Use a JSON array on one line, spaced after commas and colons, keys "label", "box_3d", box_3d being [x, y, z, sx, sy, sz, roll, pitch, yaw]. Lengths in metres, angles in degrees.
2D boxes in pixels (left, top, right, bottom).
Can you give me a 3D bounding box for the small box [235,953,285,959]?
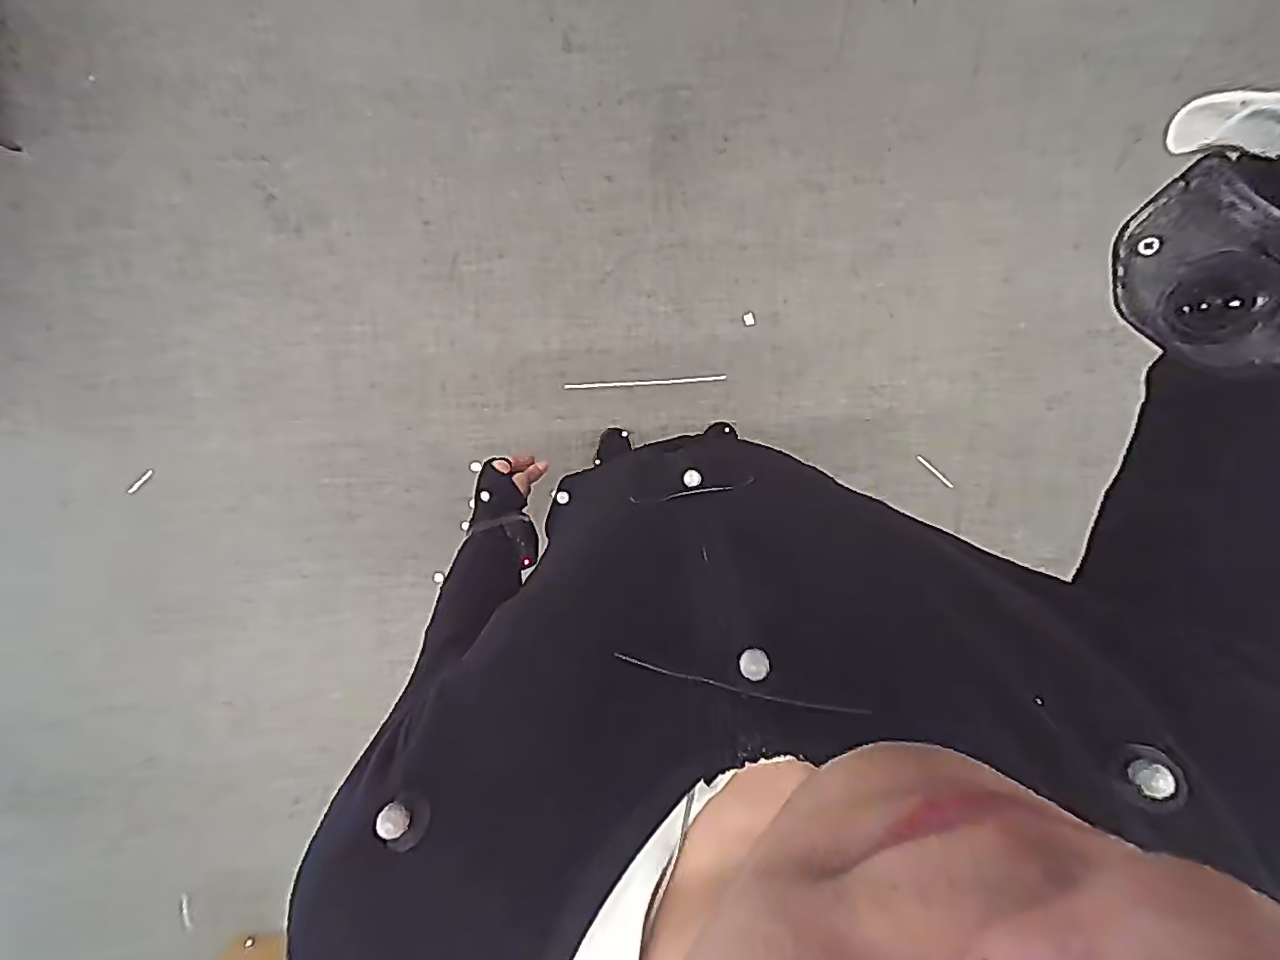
[{"label": "small box", "box_3d": [-1.222, 1.623, 1.672, 0.168, 0.176, 0.179, -4, 93, 1]}]
